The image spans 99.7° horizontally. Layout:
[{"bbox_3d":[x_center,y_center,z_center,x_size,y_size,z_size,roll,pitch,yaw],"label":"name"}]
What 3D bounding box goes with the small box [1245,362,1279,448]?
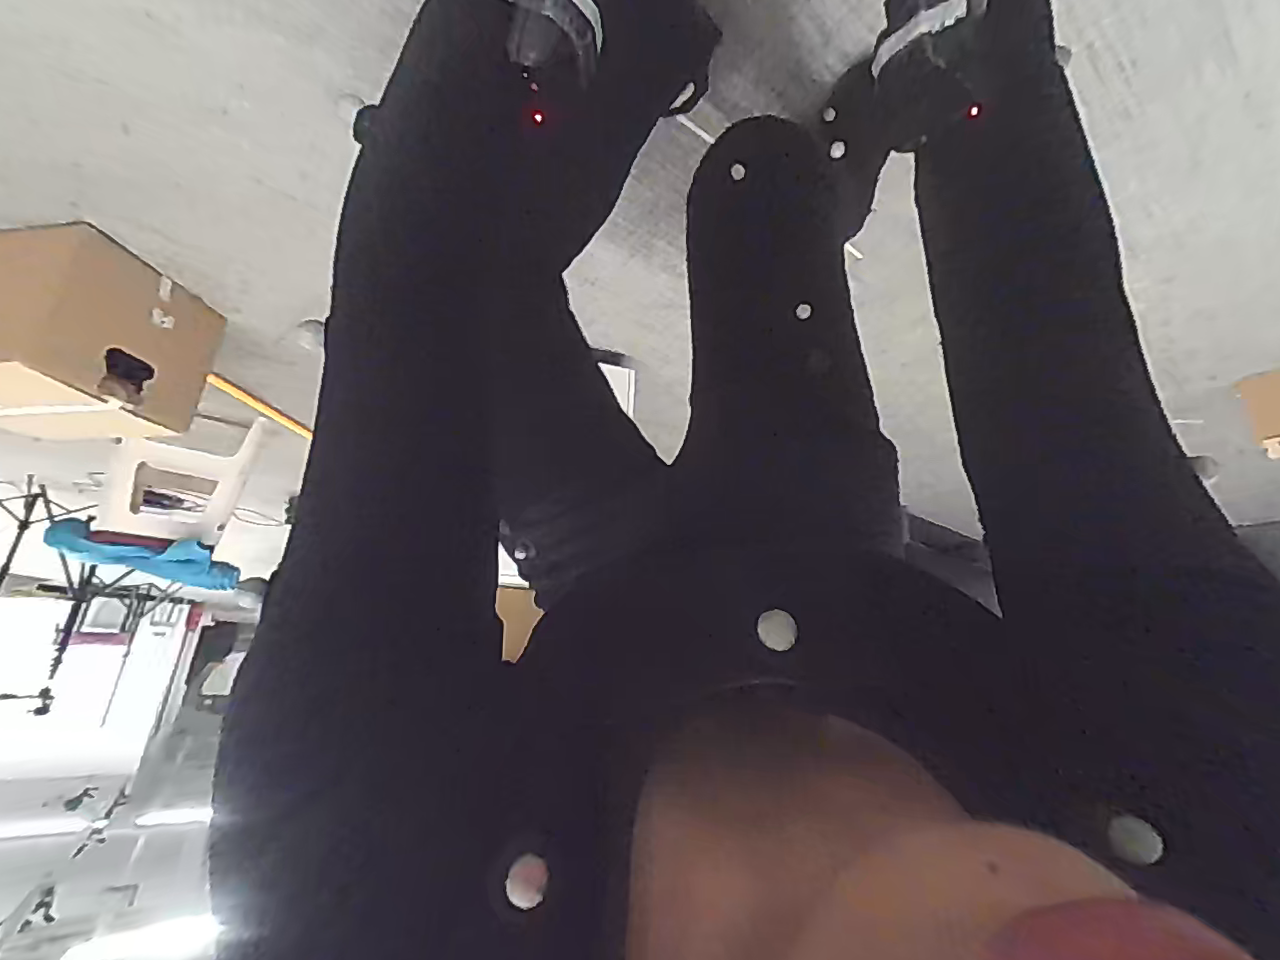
[{"bbox_3d":[1.627,-0.199,1.316,0.168,0.176,0.179,16,156,-34],"label":"small box"}]
